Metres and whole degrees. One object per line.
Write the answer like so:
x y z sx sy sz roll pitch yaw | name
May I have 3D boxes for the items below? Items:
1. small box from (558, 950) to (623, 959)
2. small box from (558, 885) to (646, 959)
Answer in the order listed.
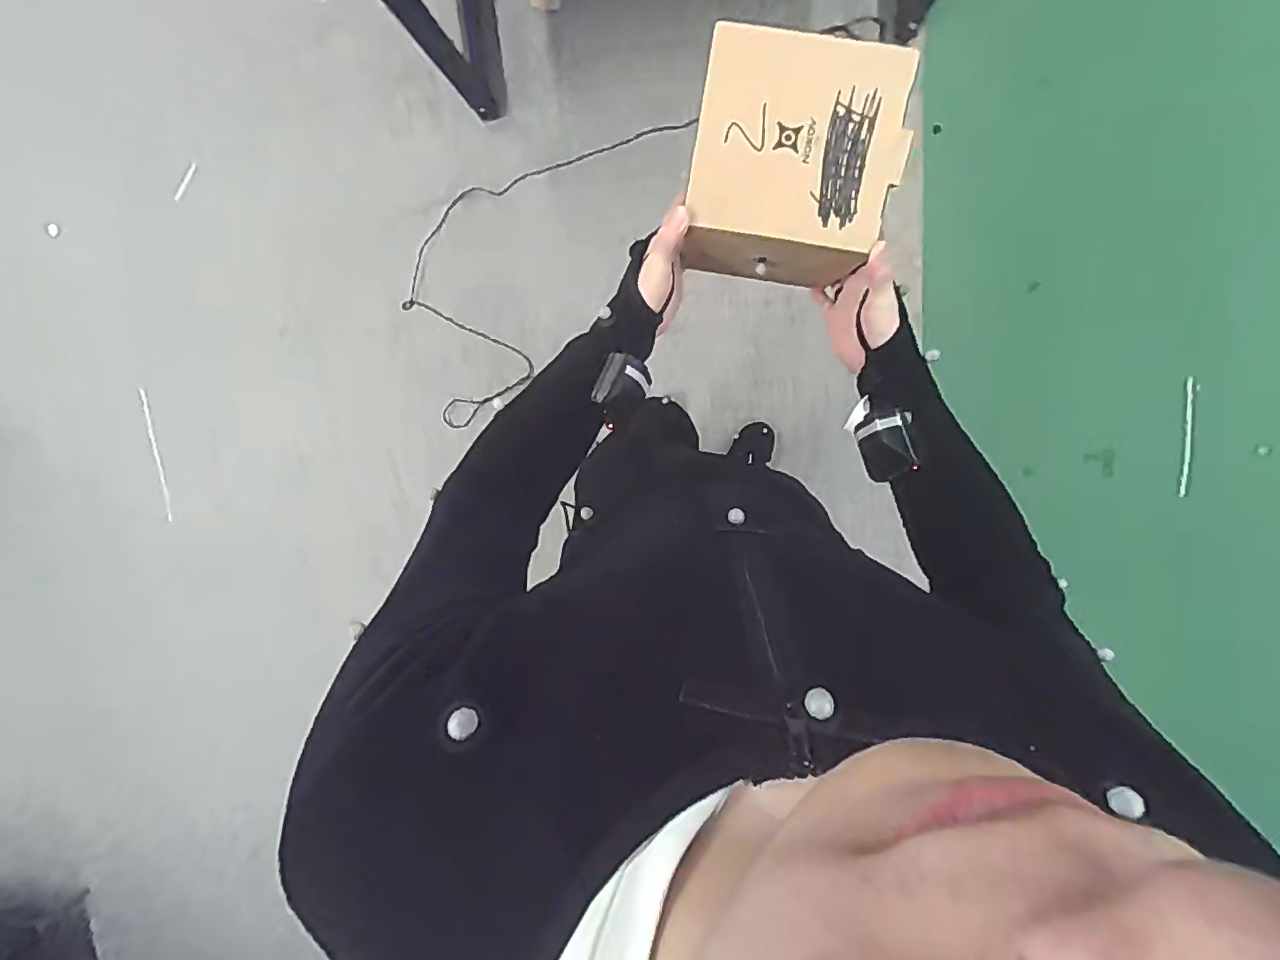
-0.107 1.157 1.154 0.168 0.176 0.179 -4 99 9 | small box
-0.084 1.126 1.313 0.179 0.176 0.168 -6 98 9 | small box
